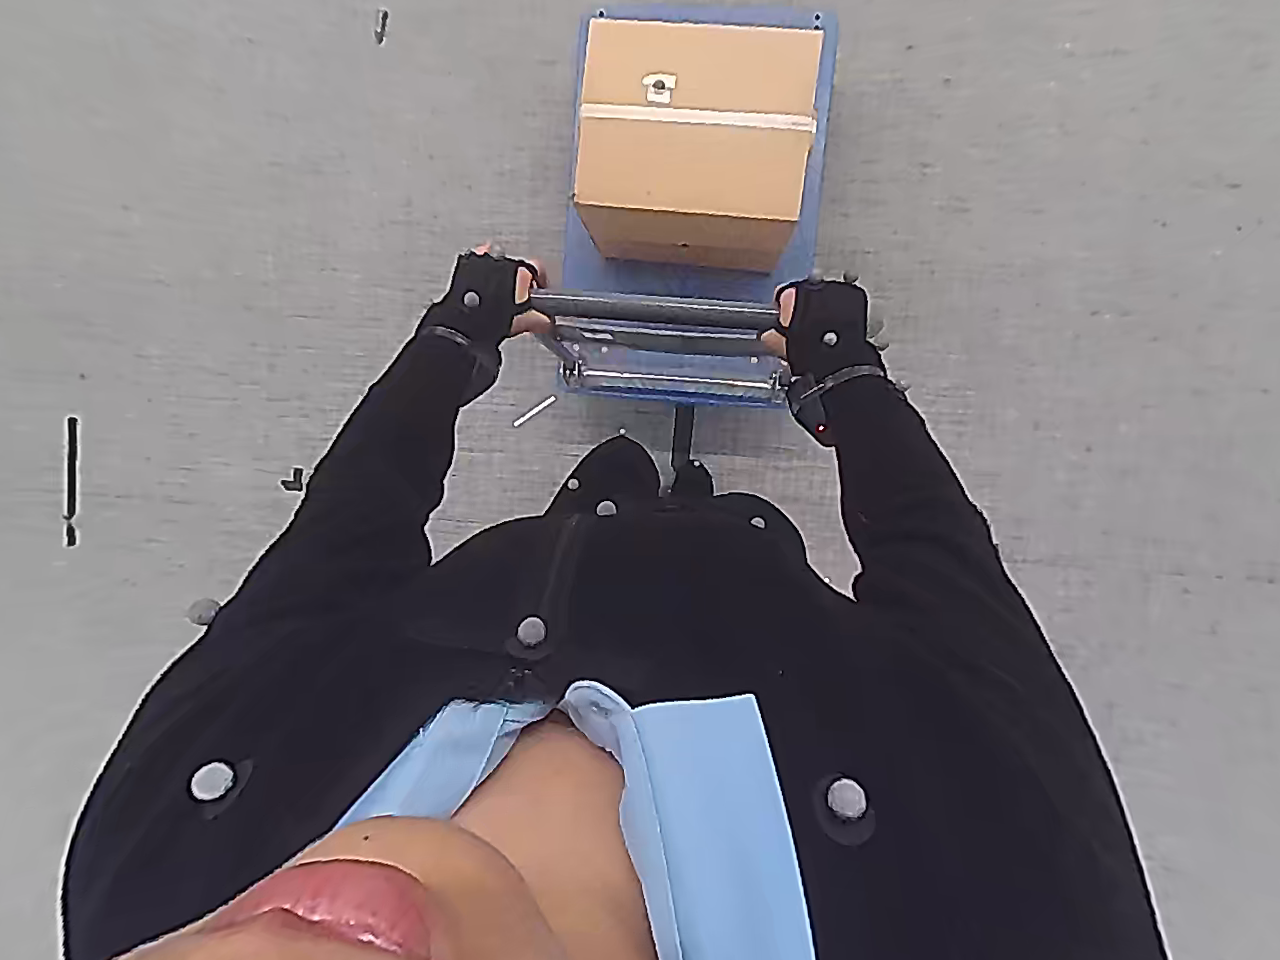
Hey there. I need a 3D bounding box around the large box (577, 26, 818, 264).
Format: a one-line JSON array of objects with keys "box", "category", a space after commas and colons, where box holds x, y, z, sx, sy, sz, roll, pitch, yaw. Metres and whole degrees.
[{"box": [0.113, -0.649, 1.102, 0.408, 0.320, 0.320, 7, 95, 6], "category": "large box"}]
